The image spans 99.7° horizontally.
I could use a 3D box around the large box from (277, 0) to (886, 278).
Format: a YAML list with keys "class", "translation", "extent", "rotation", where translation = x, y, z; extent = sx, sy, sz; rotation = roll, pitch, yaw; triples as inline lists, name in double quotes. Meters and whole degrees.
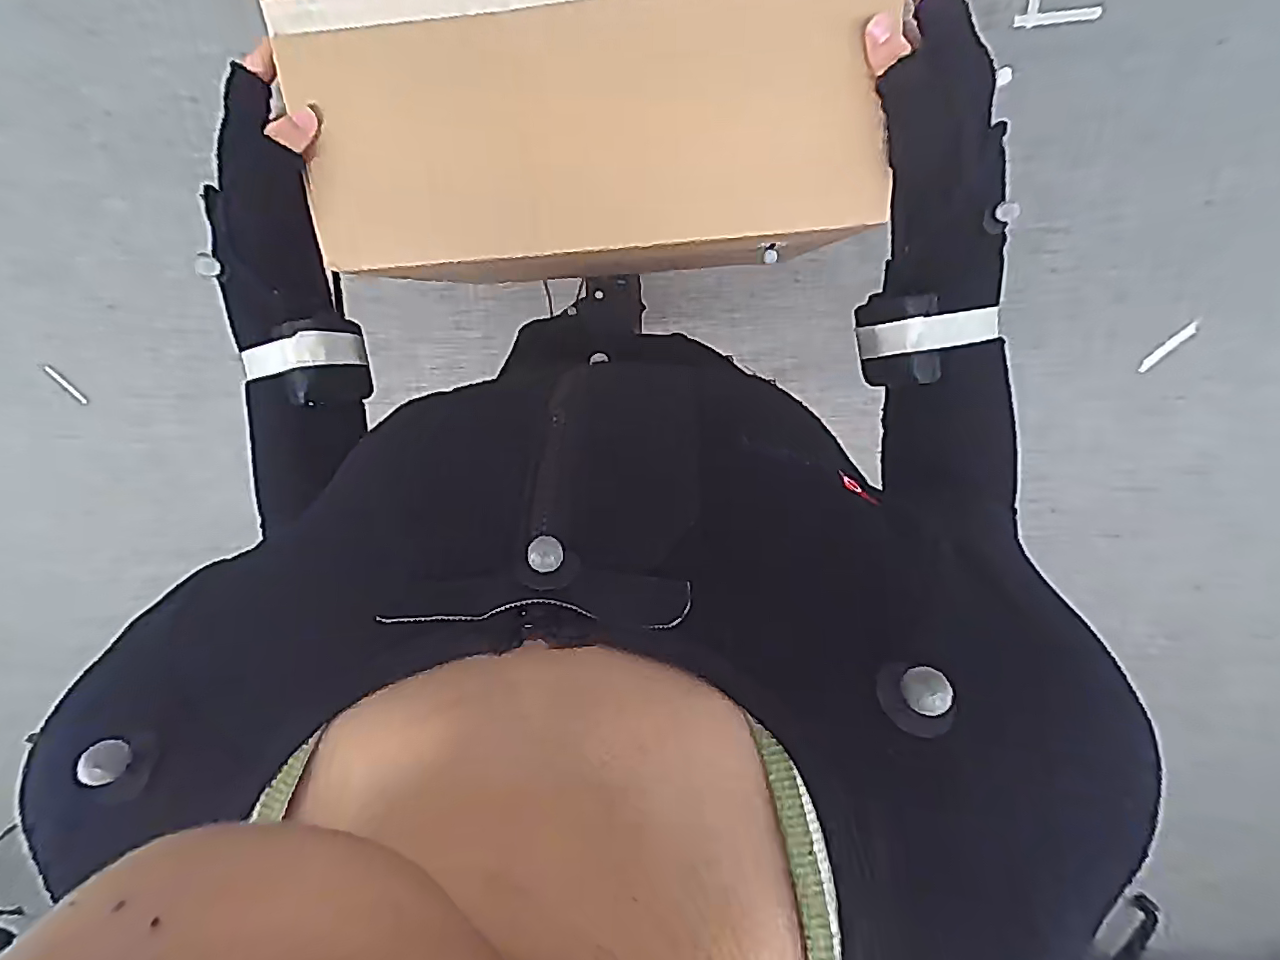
- class: "large box"
  translation: [-0.034, -0.365, 0.489]
  extent: [0.408, 0.320, 0.320]
  rotation: [-3, 108, 4]
